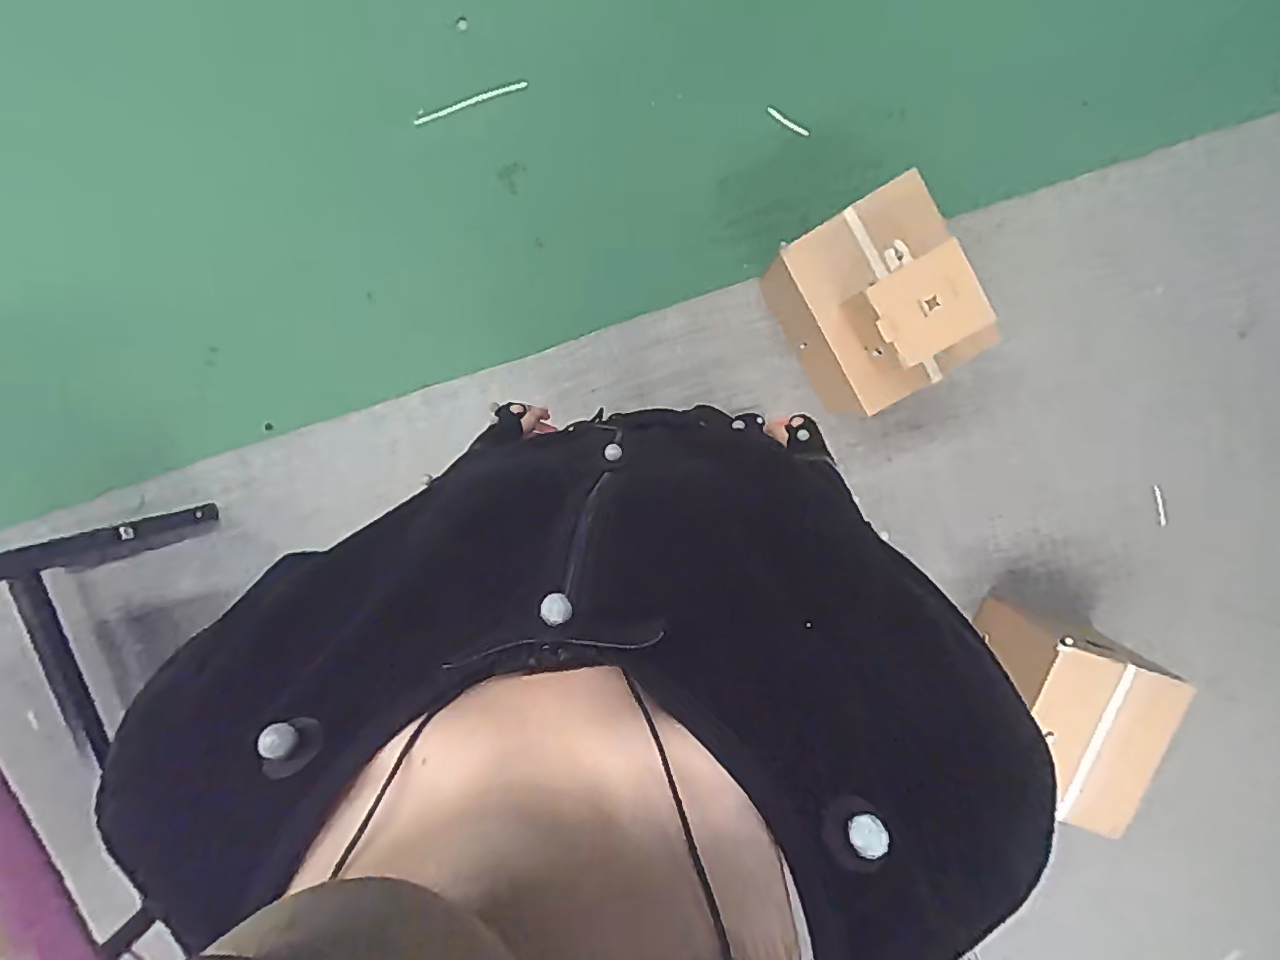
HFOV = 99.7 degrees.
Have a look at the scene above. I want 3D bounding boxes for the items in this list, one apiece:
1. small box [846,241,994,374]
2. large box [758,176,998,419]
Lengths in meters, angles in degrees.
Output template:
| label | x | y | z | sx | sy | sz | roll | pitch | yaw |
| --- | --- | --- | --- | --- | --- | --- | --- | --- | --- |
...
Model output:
| label | x | y | z | sx | sy | sz | roll | pitch | yaw |
| --- | --- | --- | --- | --- | --- | --- | --- | --- | --- |
| small box | 0.516 | -0.315 | 1.032 | 0.179 | 0.176 | 0.168 | -29 | 95 | 8 |
| large box | 0.524 | -0.391 | 1.270 | 0.320 | 0.320 | 0.408 | -30 | 94 | 6 |
